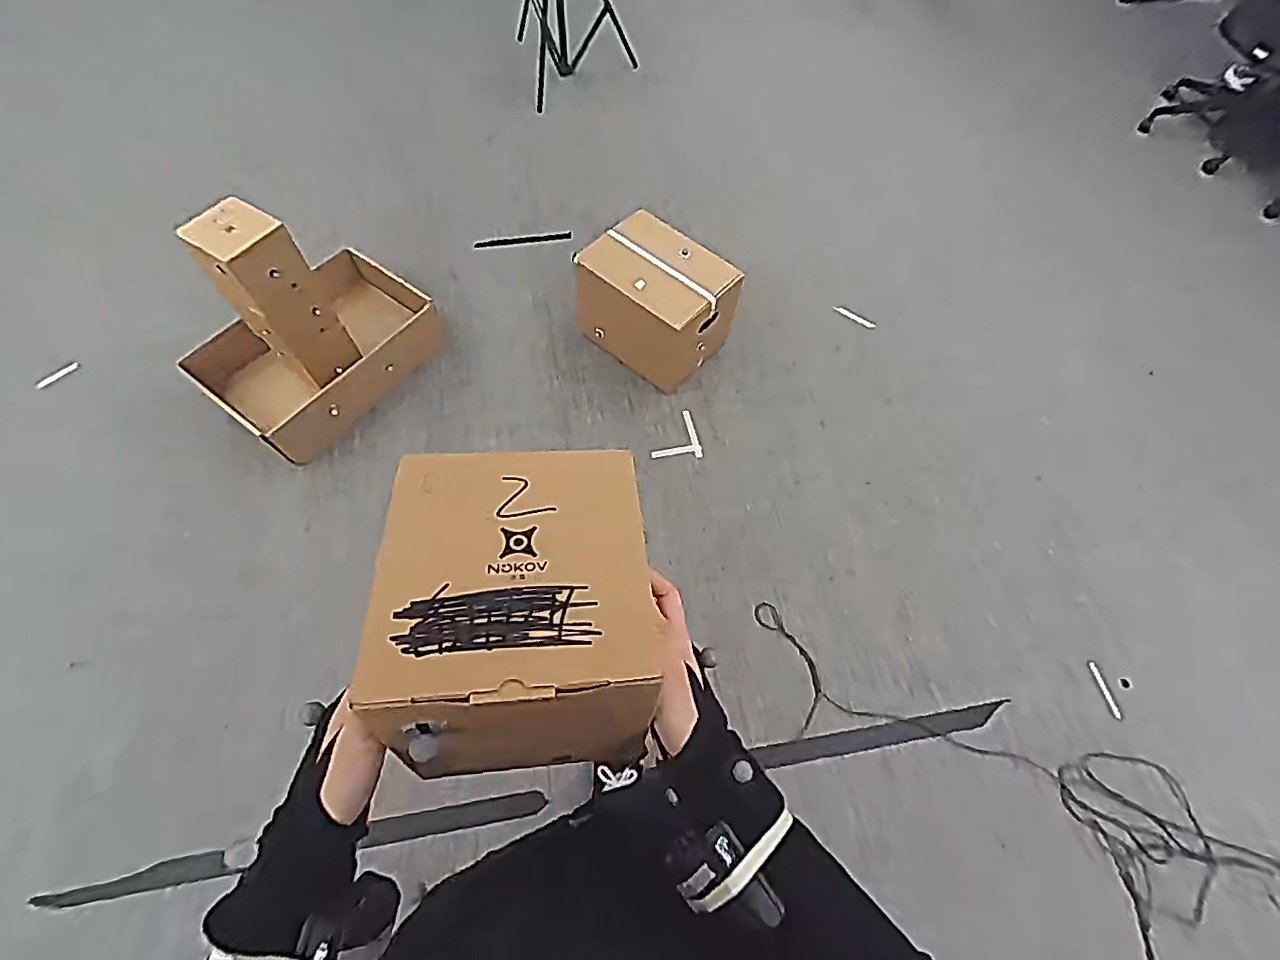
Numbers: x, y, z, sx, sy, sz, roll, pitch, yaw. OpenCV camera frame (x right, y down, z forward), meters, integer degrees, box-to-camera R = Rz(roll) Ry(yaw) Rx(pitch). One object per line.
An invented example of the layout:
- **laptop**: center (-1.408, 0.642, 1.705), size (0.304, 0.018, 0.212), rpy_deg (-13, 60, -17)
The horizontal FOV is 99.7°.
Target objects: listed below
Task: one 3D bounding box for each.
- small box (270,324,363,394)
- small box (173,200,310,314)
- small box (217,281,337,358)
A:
- **small box**: center (-0.978, -0.391, 1.619), size (0.179, 0.176, 0.168), rpy_deg (34, 67, 13)
- **small box**: center (-0.964, -0.539, 1.328), size (0.179, 0.176, 0.168), rpy_deg (29, 64, 11)
- **small box**: center (-0.976, -0.461, 1.473), size (0.179, 0.176, 0.168), rpy_deg (29, 64, 12)
